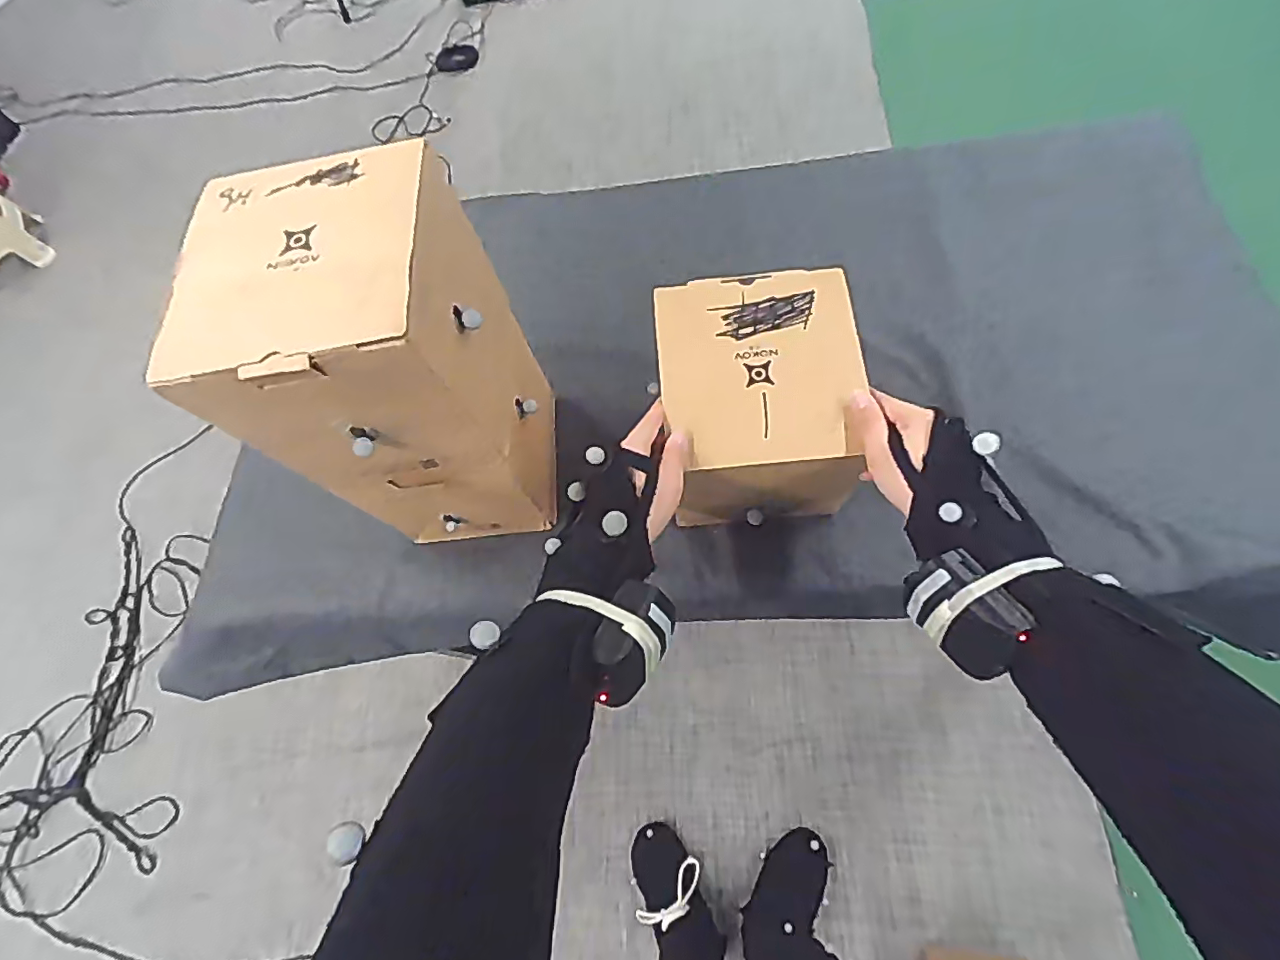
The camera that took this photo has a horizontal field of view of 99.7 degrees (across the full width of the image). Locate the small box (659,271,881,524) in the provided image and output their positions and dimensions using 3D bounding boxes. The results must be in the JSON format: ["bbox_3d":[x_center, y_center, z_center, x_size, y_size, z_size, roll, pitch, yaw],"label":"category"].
[{"bbox_3d":[0.109,-0.067,0.522,0.168,0.176,0.179,-6,70,6],"label":"small box"}]

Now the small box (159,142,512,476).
[{"bbox_3d":[-0.205,-0.113,0.421,0.168,0.176,0.179,-8,67,5],"label":"small box"}]

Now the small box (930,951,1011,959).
[{"bbox_3d":[0.584,0.879,0.848,0.179,0.176,0.168,-1,66,10],"label":"small box"}]

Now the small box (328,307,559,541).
[{"bbox_3d":[-0.187,-0.050,0.571,0.168,0.176,0.179,-7,66,5],"label":"small box"}]
